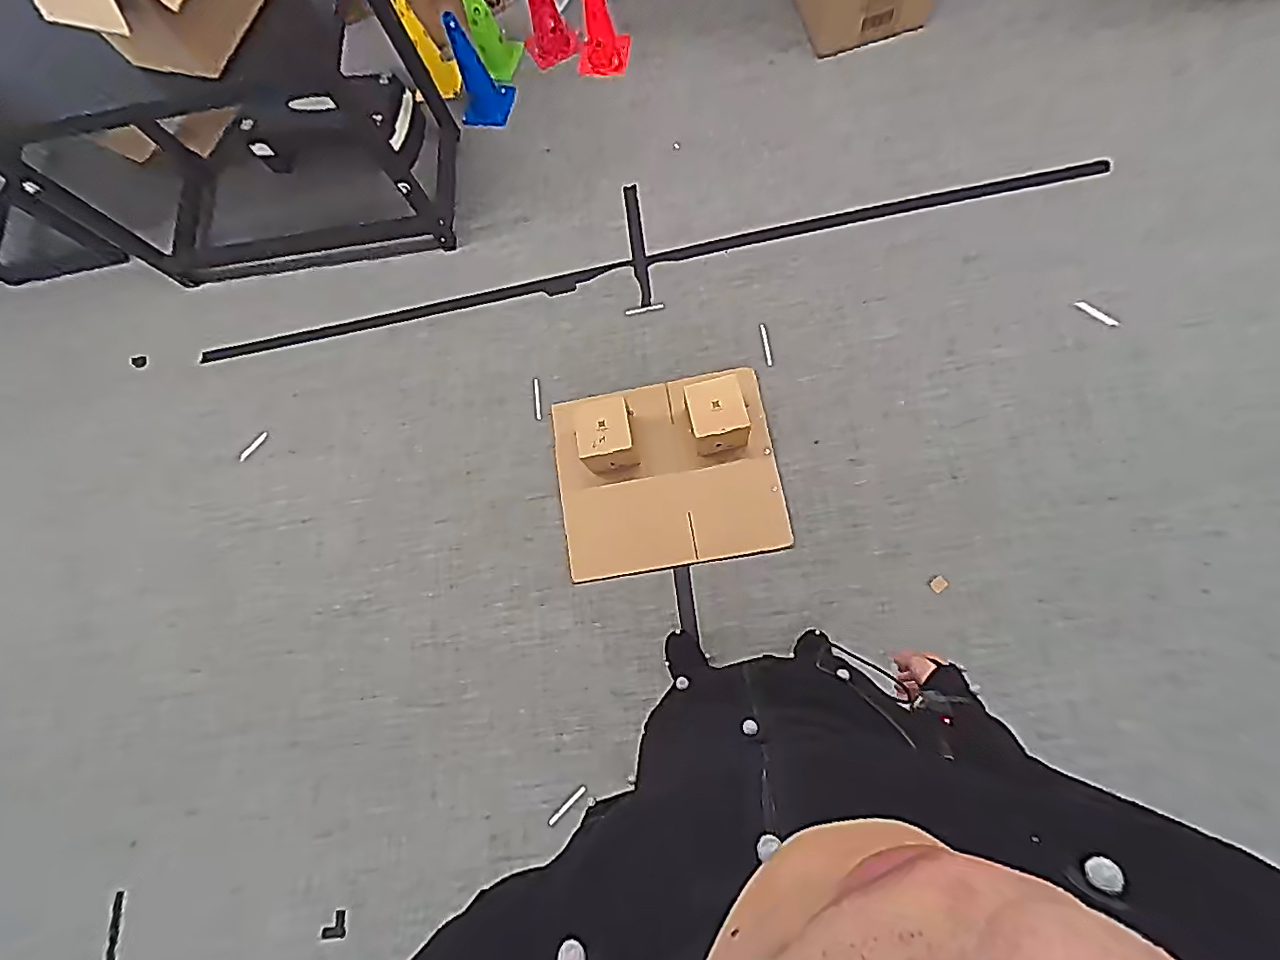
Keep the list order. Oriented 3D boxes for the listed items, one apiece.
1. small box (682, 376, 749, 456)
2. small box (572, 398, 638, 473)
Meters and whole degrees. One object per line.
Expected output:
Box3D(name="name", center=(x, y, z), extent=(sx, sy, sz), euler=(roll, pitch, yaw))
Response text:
Box3D(name="small box", center=(0.231, -0.194, 1.678), extent=(0.168, 0.176, 0.179), euler=(-14, 74, 4))
Box3D(name="small box", center=(-0.106, -0.136, 1.704), extent=(0.168, 0.176, 0.179), euler=(-11, 75, 6))
